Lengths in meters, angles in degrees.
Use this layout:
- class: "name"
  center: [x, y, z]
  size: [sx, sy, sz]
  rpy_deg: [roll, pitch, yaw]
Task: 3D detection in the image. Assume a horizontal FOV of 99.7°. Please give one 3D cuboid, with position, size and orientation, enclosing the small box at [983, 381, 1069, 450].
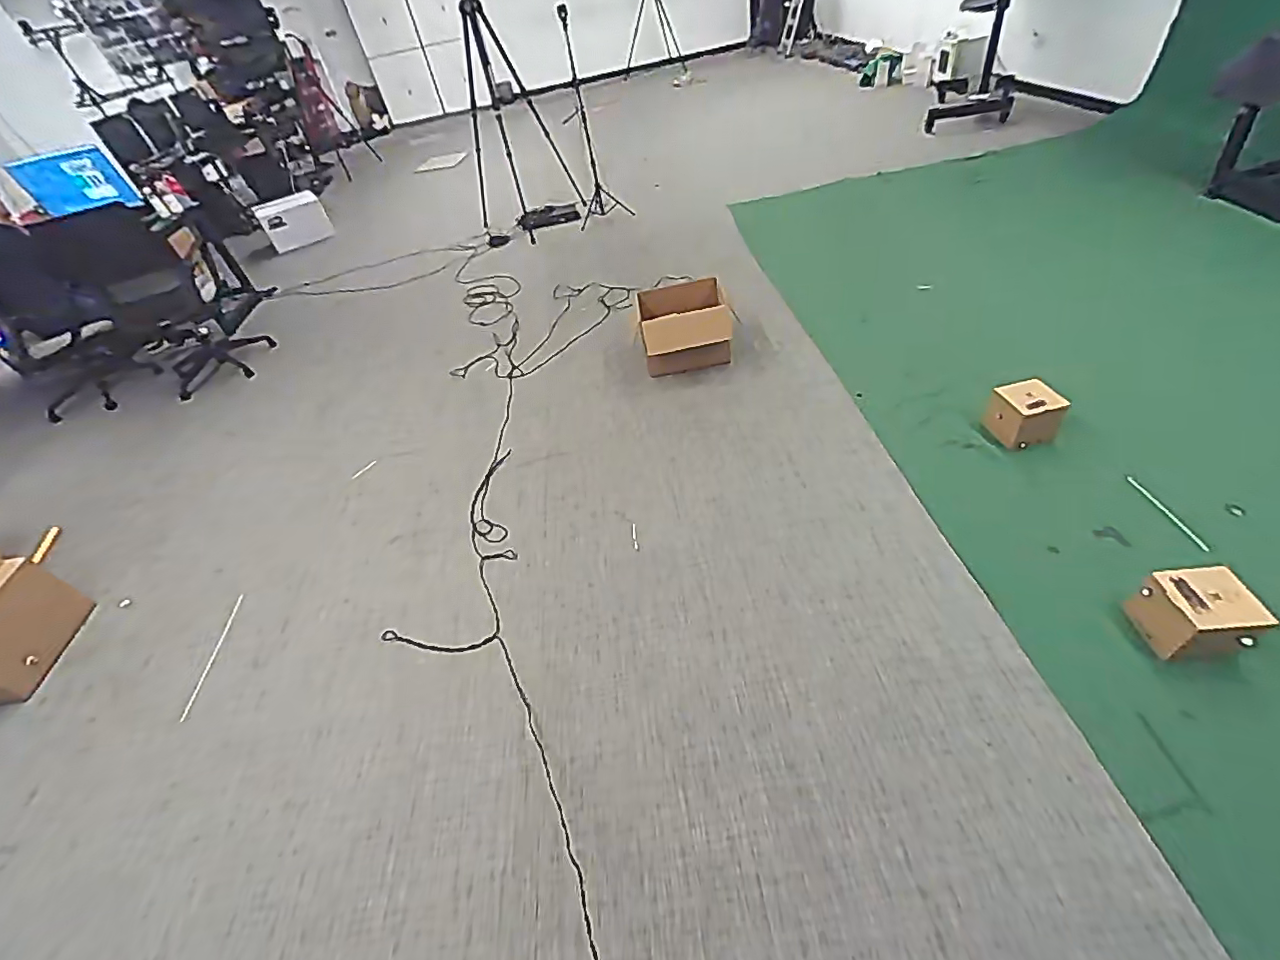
- class: "small box"
  center: [1.383, -0.226, 1.951]
  size: [0.168, 0.176, 0.179]
  rpy_deg: [-13, 42, 0]
